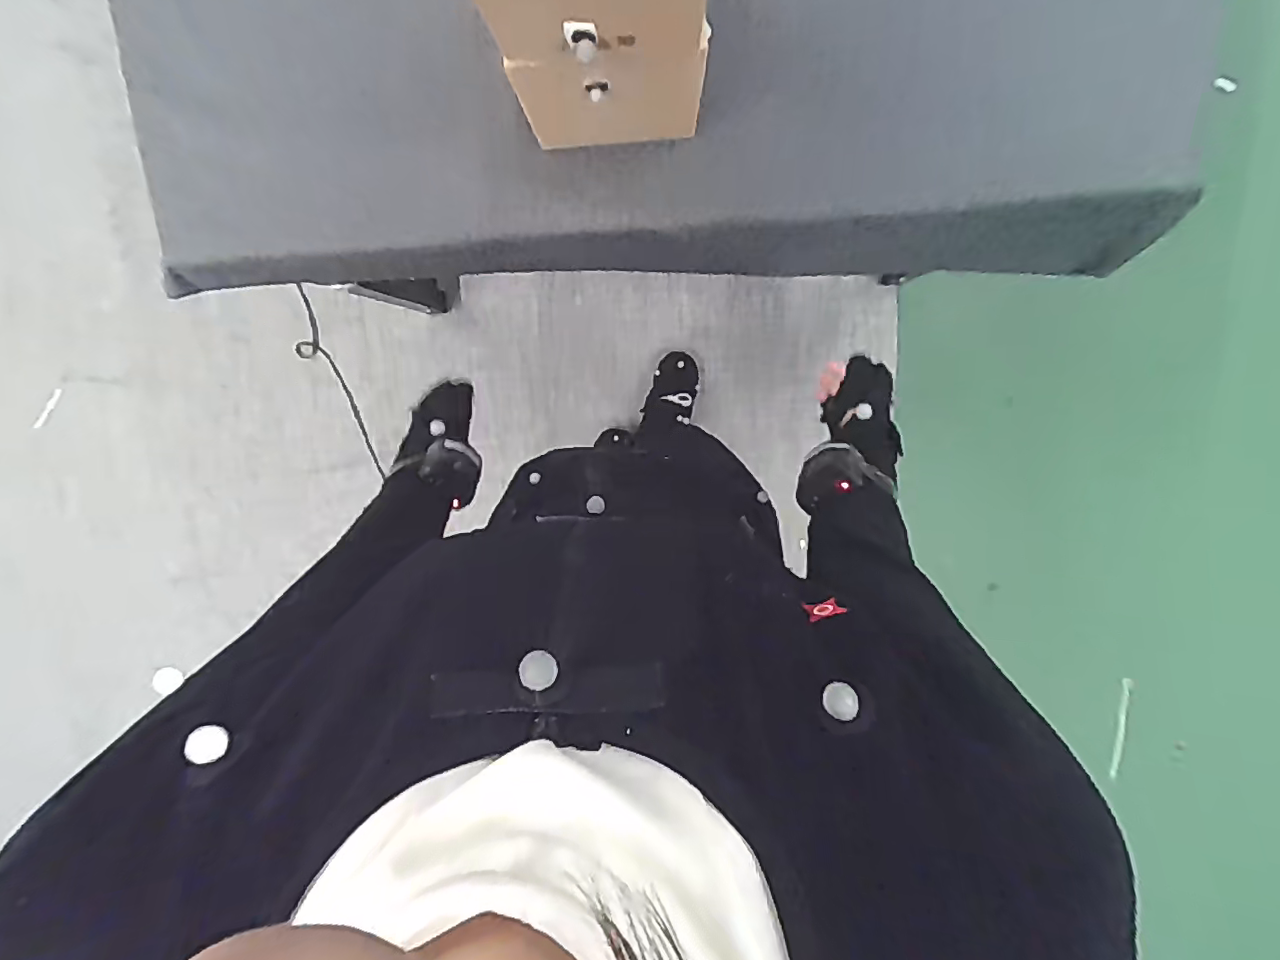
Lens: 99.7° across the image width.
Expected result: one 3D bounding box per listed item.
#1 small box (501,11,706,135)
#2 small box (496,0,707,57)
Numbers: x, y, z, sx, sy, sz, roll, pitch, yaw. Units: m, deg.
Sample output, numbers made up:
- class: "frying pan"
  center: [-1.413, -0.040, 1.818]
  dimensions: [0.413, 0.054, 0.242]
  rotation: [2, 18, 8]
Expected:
- class: "small box"
  center: [-0.032, -0.461, 0.525]
  dimensions: [0.179, 0.176, 0.168]
  rotation: [-4, 101, 2]
- class: "small box"
  center: [-0.035, -0.434, 0.366]
  dimensions: [0.168, 0.176, 0.179]
  rotation: [-2, 102, 3]
